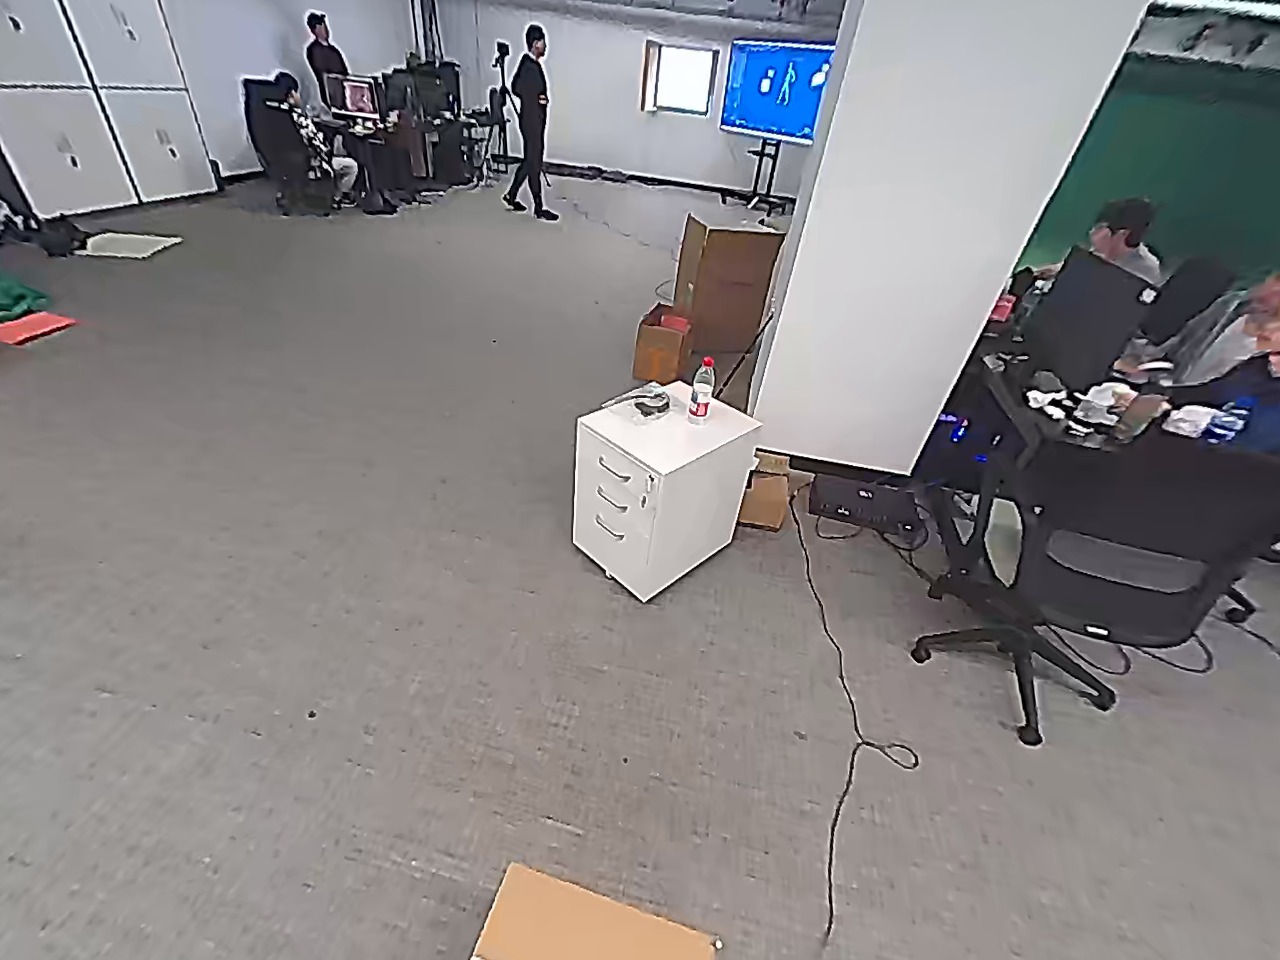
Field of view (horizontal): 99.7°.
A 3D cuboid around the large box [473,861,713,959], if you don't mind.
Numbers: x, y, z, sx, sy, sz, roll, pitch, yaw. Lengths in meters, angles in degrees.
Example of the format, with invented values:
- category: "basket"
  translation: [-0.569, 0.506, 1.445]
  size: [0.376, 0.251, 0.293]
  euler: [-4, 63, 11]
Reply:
- category: "large box"
  translation: [-0.112, 0.979, 0.980]
  size: [0.408, 0.320, 0.320]
  euler: [15, 37, 8]
